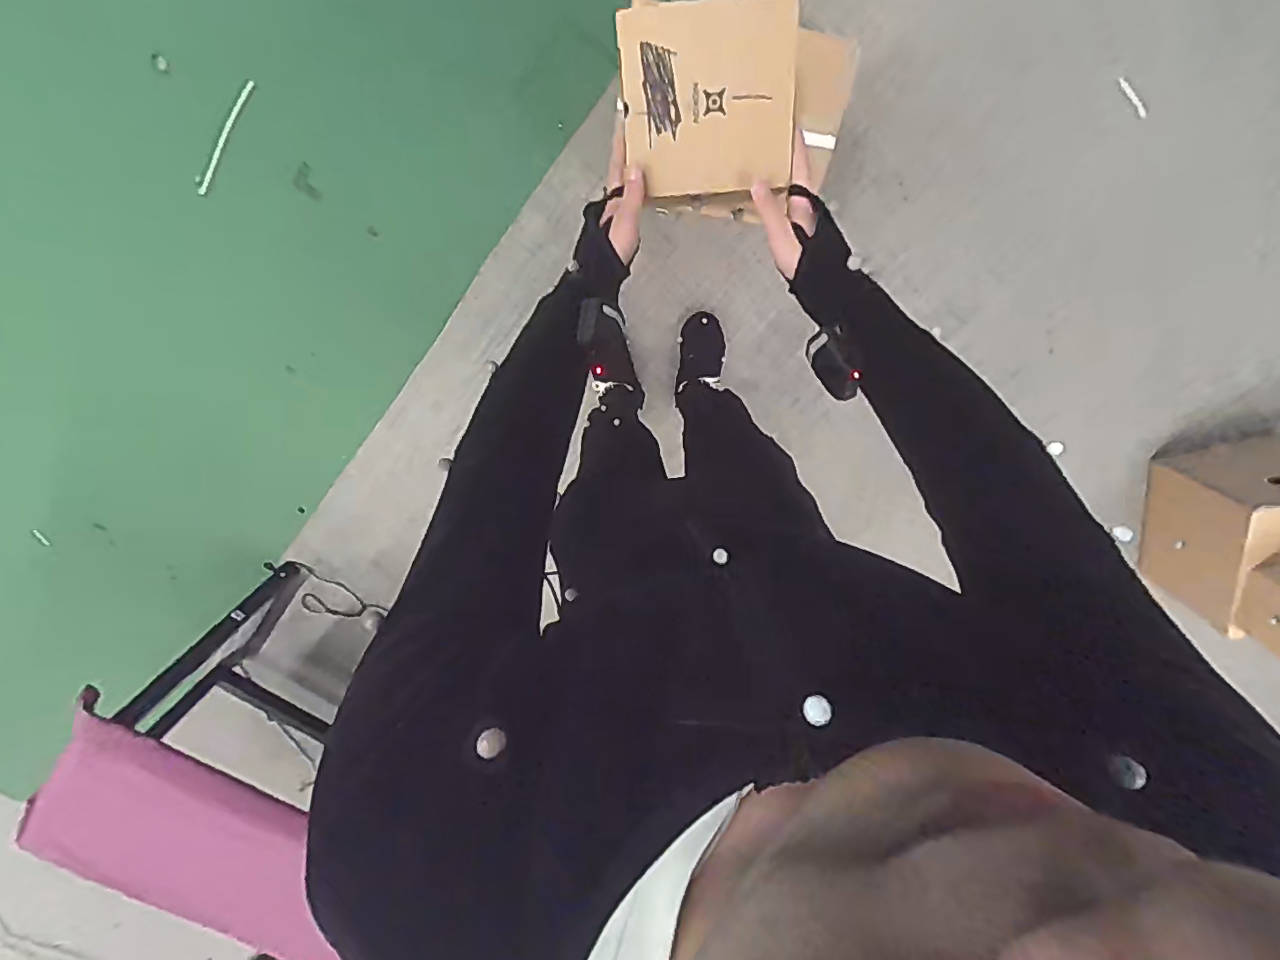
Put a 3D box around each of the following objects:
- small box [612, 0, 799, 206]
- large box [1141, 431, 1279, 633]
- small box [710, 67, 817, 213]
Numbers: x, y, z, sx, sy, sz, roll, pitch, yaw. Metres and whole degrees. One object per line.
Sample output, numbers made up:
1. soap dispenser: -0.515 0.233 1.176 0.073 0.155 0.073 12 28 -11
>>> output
1. small box: 0.074 -0.406 0.604 0.179 0.176 0.168 0 114 8
2. large box: 1.633 0.132 1.447 0.320 0.320 0.408 -14 113 9
3. small box: 0.128 -0.496 0.782 0.179 0.176 0.168 12 116 -2
